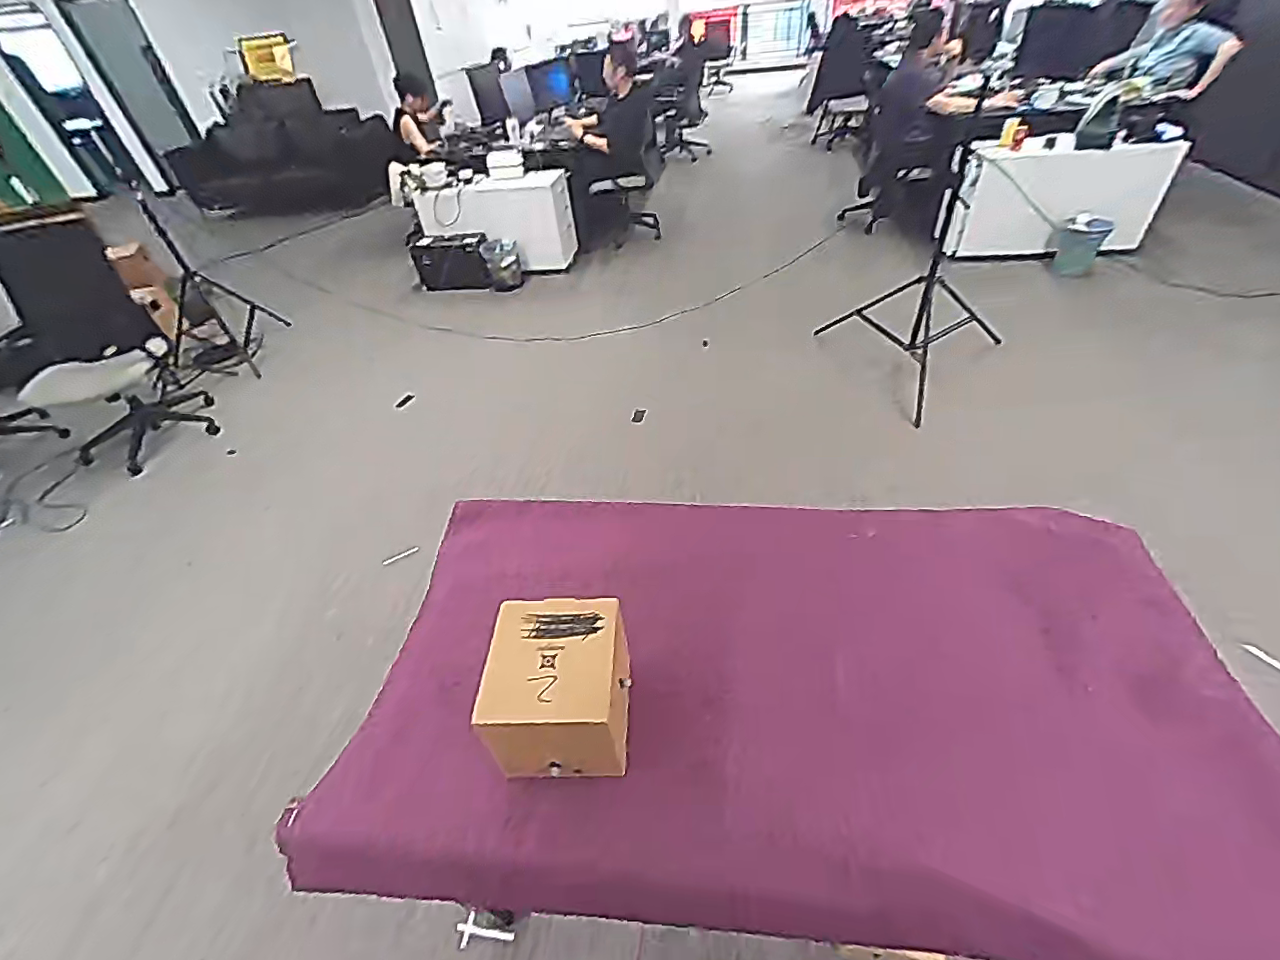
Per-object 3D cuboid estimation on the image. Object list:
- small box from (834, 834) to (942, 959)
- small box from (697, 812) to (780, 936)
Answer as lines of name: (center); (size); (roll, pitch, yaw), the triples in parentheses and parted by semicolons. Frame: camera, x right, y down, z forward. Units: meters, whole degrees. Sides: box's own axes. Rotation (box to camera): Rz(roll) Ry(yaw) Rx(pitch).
small box: (0.498, 0.868, 1.112); (0.168, 0.176, 0.179); (4, 43, 13)
small box: (0.214, 0.852, 1.167); (0.168, 0.176, 0.179); (3, 42, 10)
